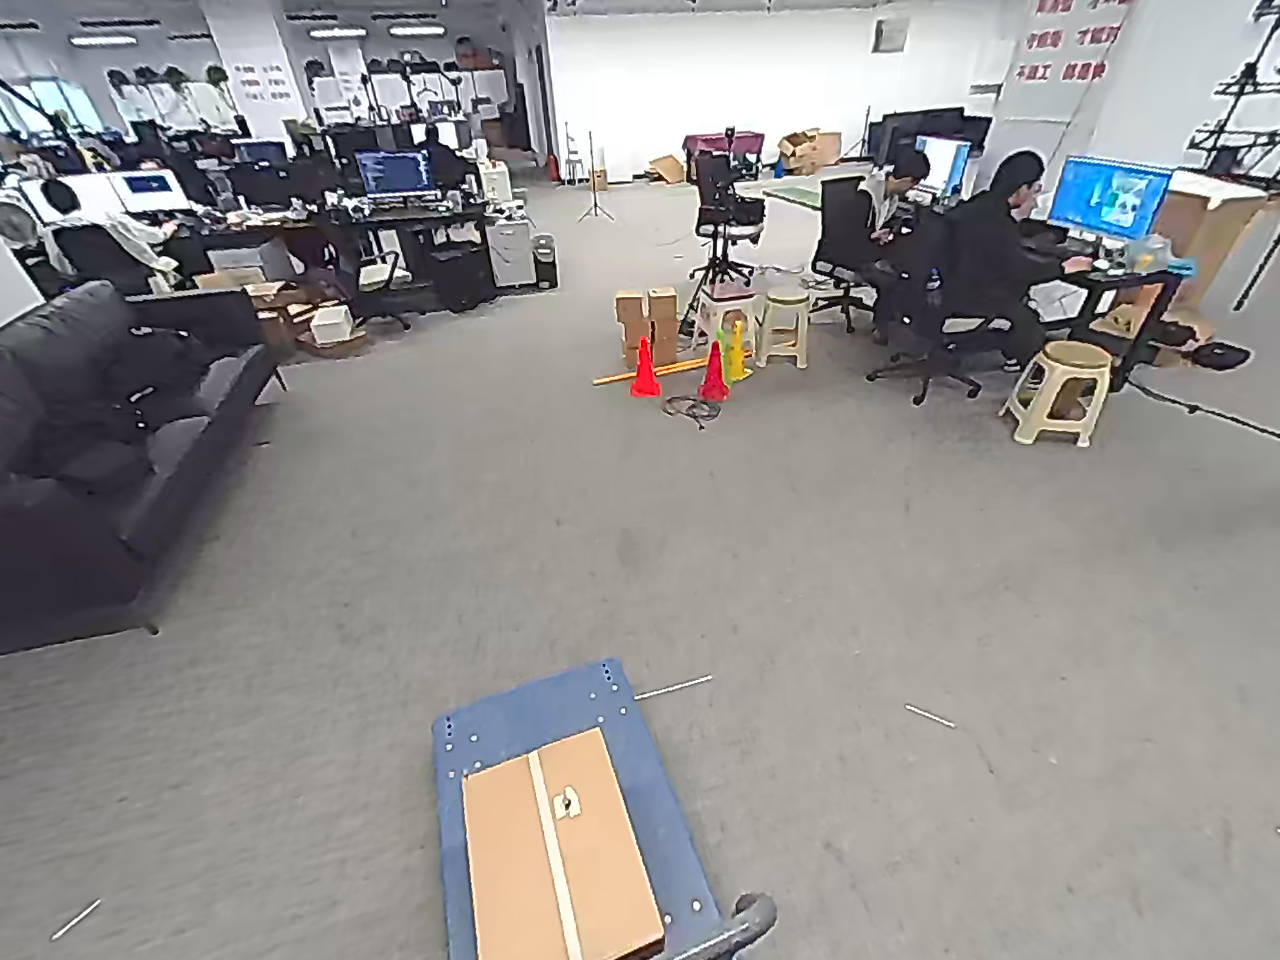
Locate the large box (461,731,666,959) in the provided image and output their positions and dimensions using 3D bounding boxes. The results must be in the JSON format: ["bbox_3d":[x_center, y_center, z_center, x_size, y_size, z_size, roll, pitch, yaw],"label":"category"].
[{"bbox_3d":[-0.162,0.834,1.131,0.320,0.320,0.408,-14,37,-15],"label":"large box"}]
